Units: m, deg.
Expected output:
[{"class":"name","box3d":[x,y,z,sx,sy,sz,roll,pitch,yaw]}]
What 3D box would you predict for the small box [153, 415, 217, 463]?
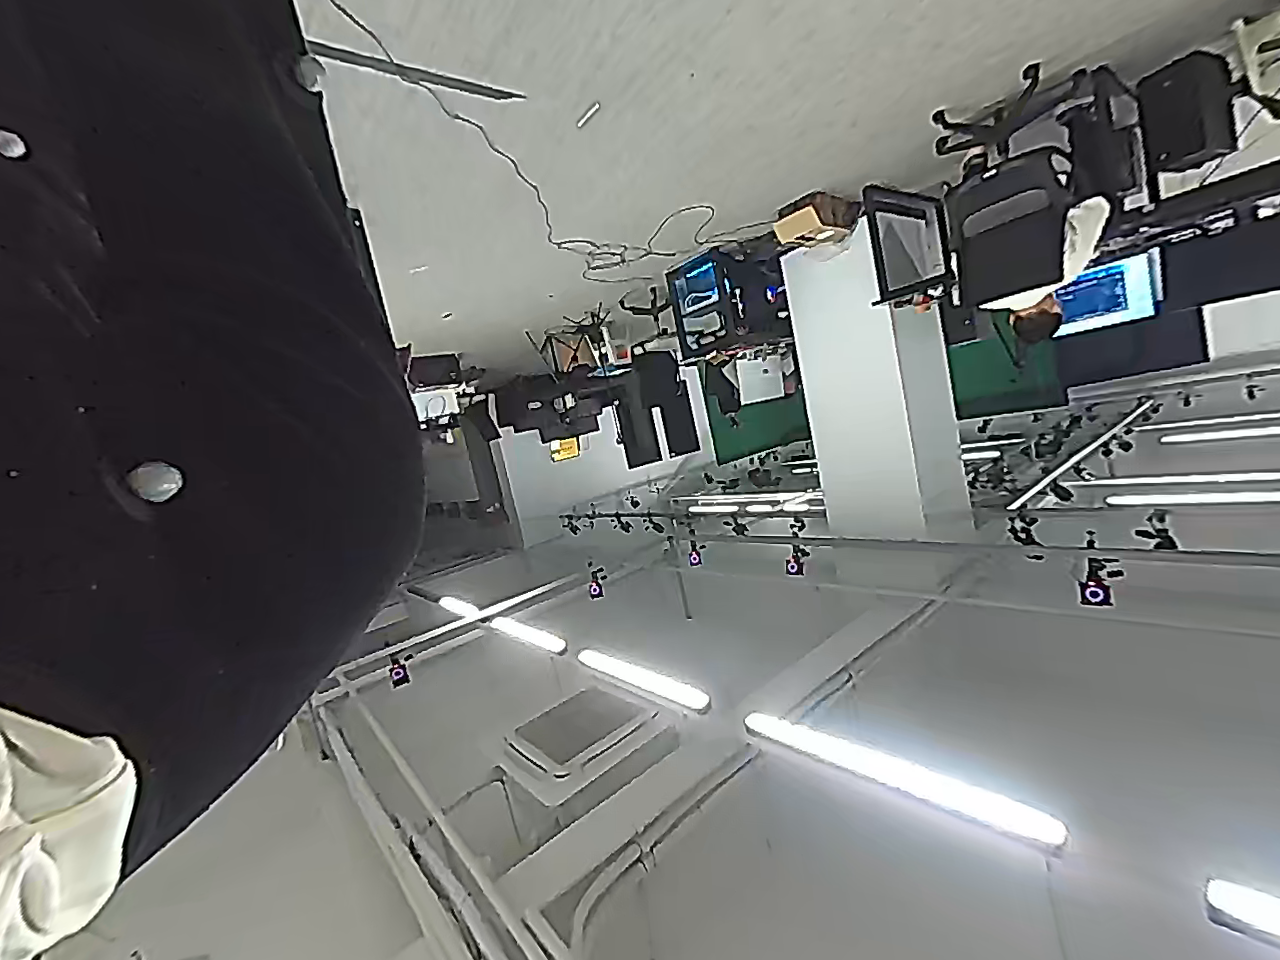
[{"class":"small box","box3d":[-1.907,-0.180,2.264,0.179,0.176,0.168,-18,-173,-39]}]
